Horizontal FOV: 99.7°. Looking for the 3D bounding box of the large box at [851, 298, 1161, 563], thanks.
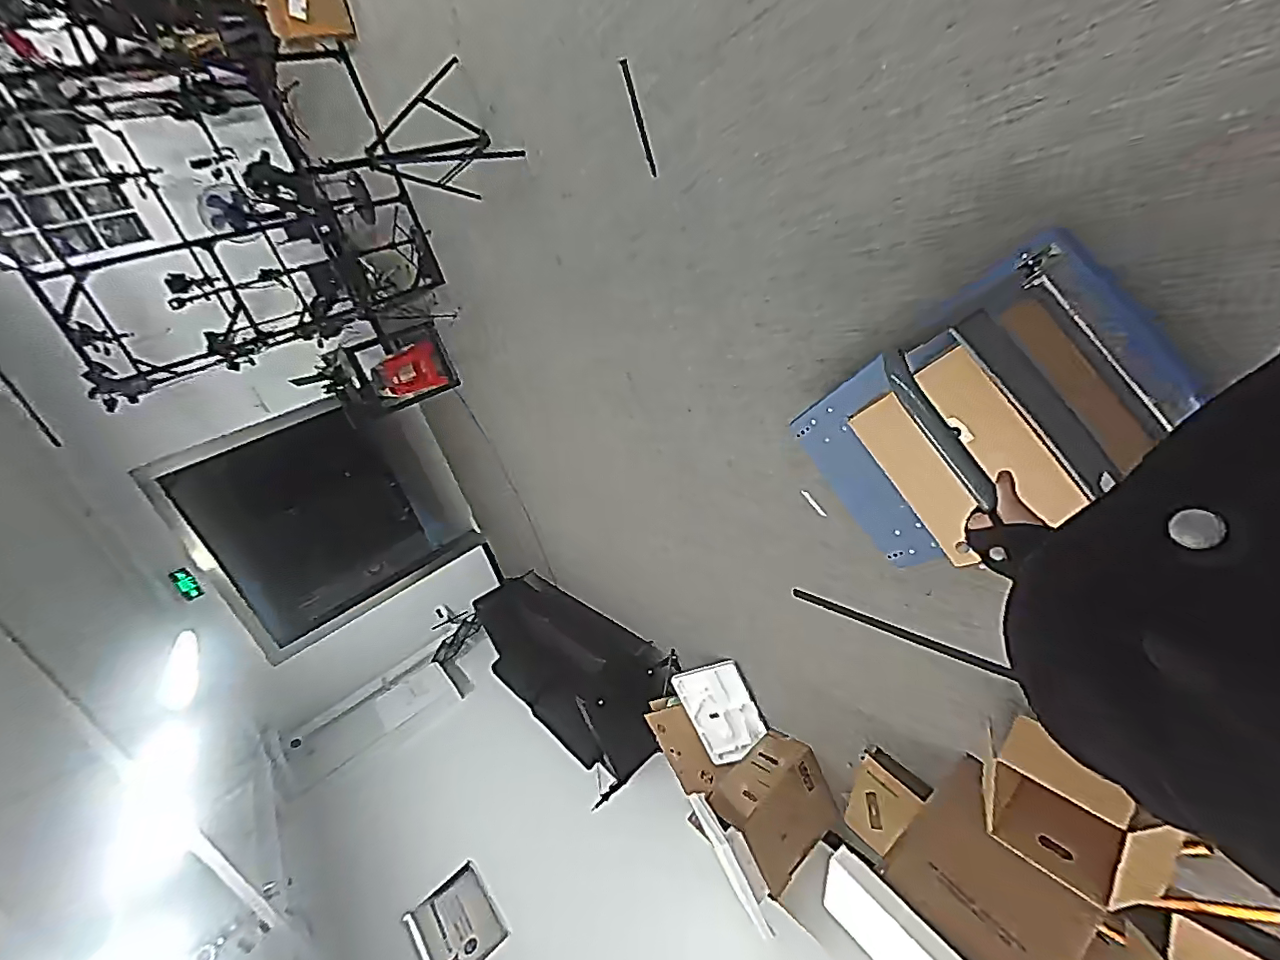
[{"bbox_3d":[0.753,-0.096,1.143,0.408,0.320,0.320,56,151,7],"label":"large box"}]
